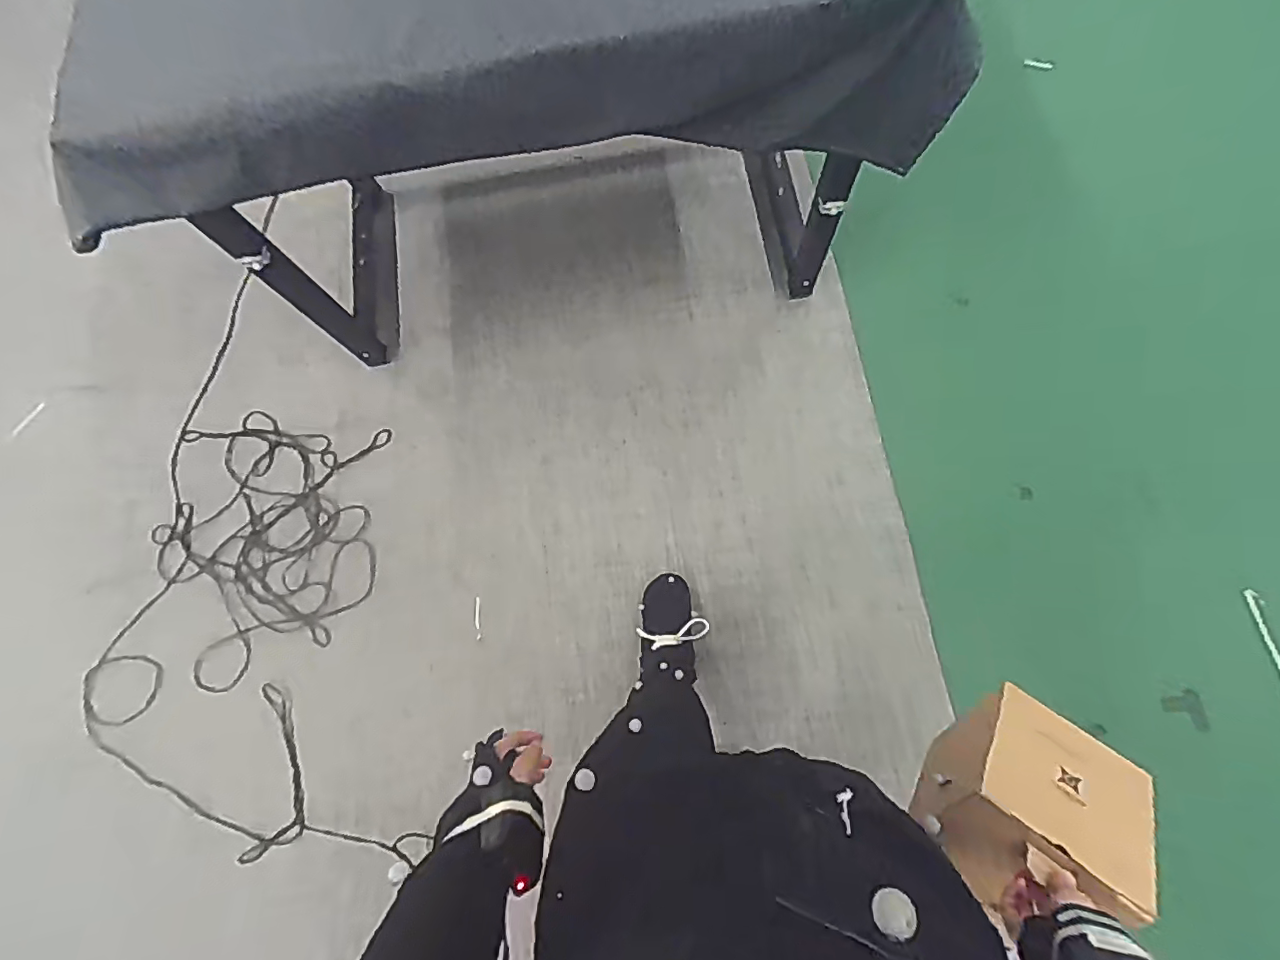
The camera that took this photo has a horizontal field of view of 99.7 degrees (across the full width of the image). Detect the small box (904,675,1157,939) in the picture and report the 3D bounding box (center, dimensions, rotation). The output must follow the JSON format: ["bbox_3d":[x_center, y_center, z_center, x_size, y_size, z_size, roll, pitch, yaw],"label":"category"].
[{"bbox_3d":[0.438,0.375,0.626,0.168,0.176,0.179,35,42,20],"label":"small box"}]
